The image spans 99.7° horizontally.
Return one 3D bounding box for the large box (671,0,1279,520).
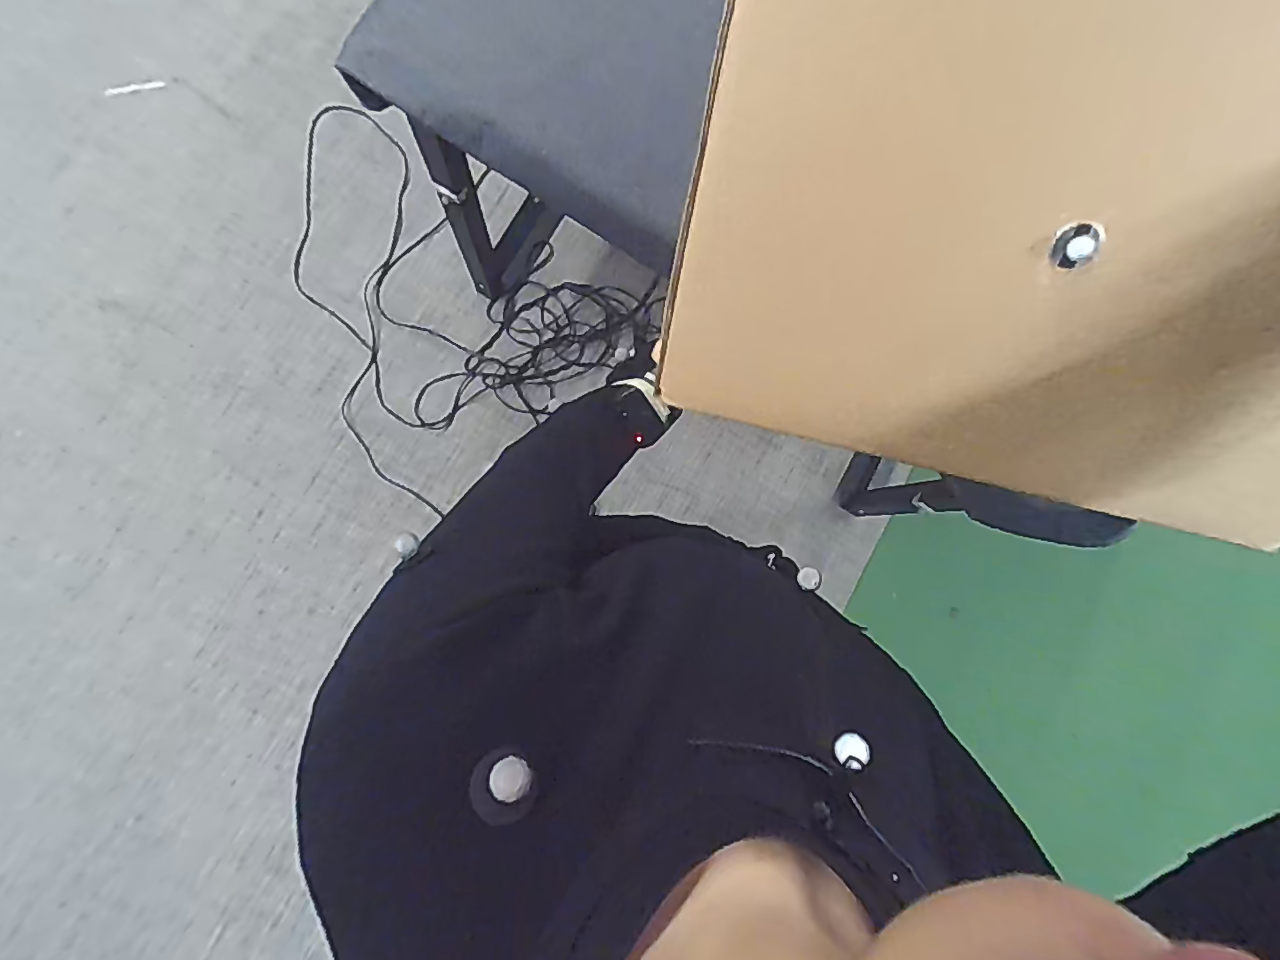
[{"bbox_3d":[0.261,-0.205,0.423,0.408,0.320,0.320,12,119,5],"label":"large box"}]
